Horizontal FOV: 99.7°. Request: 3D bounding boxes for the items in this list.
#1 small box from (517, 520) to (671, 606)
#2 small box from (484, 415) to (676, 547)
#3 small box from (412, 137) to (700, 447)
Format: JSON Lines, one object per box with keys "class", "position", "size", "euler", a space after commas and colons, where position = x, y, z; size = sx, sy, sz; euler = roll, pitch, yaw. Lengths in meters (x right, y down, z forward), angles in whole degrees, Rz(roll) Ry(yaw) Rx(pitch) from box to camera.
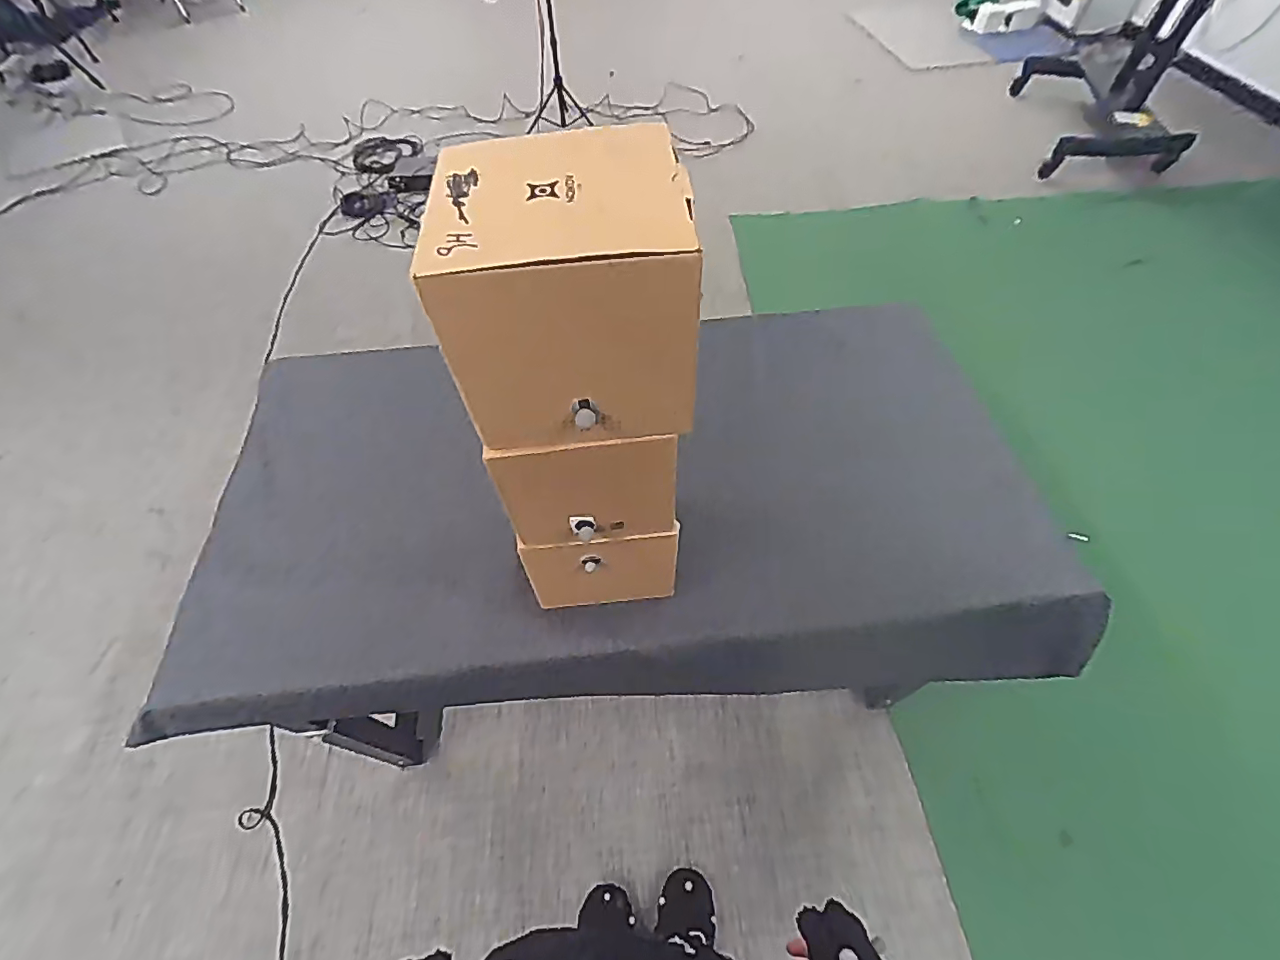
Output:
{"class": "small box", "position": [-0.056, 0.056, 0.711], "size": [0.179, 0.176, 0.168], "euler": [-5, 56, -3]}
{"class": "small box", "position": [-0.058, -0.051, 0.569], "size": [0.168, 0.176, 0.179], "euler": [-8, 57, -2]}
{"class": "small box", "position": [-0.055, -0.144, 0.434], "size": [0.179, 0.176, 0.168], "euler": [-5, 55, -2]}
